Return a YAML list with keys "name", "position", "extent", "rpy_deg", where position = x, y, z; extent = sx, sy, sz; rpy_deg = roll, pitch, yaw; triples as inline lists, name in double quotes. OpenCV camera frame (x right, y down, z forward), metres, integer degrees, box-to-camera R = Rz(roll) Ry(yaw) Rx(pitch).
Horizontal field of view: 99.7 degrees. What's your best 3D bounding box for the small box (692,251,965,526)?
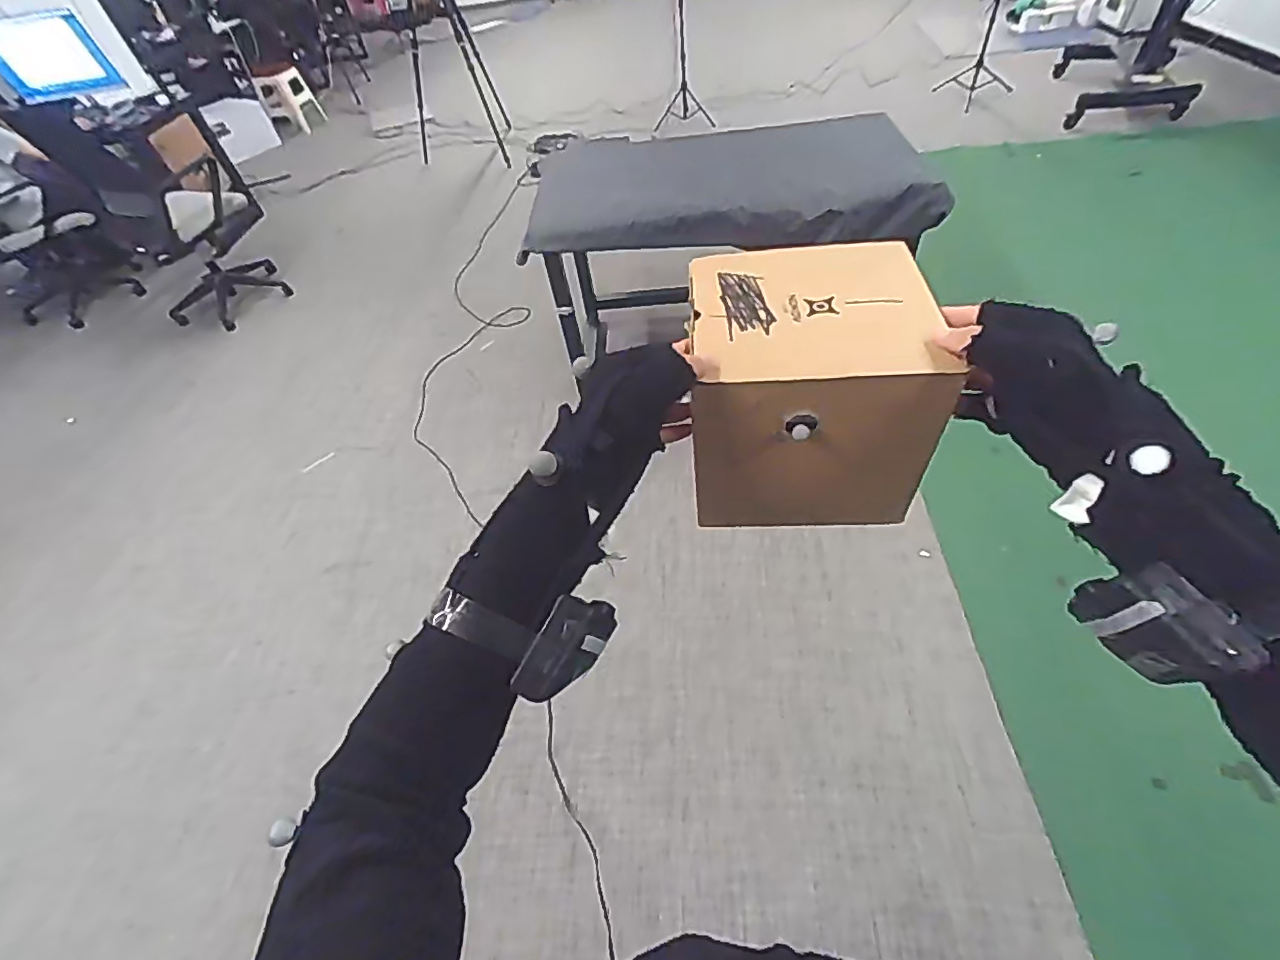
- name: "small box"
  position: [0.136, -0.072, 0.464]
  extent: [0.179, 0.176, 0.168]
  rpy_deg: [-1, 50, 7]
